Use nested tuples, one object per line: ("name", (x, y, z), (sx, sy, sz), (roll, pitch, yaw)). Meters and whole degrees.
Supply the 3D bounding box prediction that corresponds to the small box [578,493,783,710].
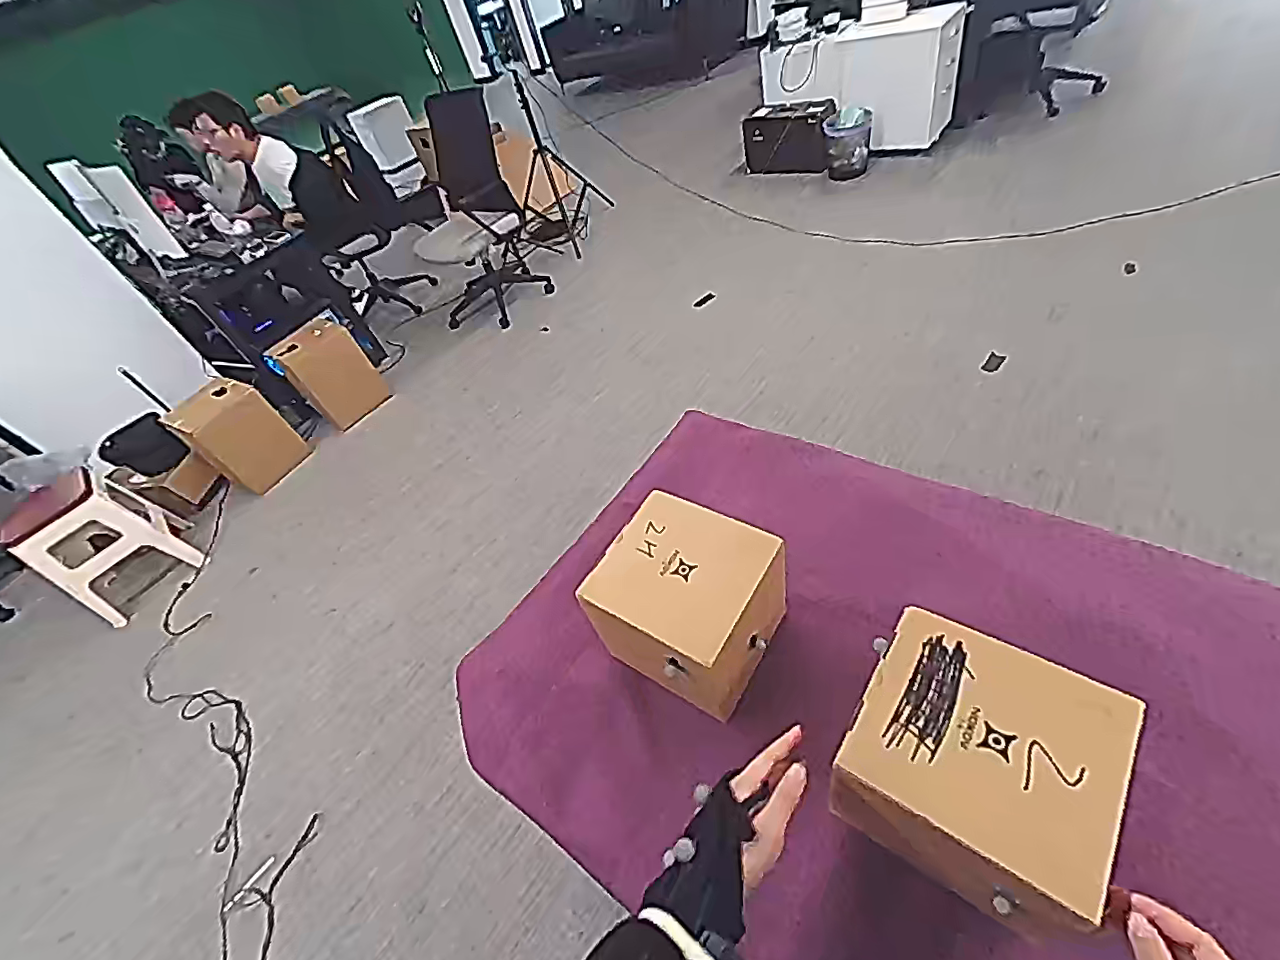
("small box", (0.060, 0.150, 0.653), (0.179, 0.176, 0.168), (21, 58, 31))
